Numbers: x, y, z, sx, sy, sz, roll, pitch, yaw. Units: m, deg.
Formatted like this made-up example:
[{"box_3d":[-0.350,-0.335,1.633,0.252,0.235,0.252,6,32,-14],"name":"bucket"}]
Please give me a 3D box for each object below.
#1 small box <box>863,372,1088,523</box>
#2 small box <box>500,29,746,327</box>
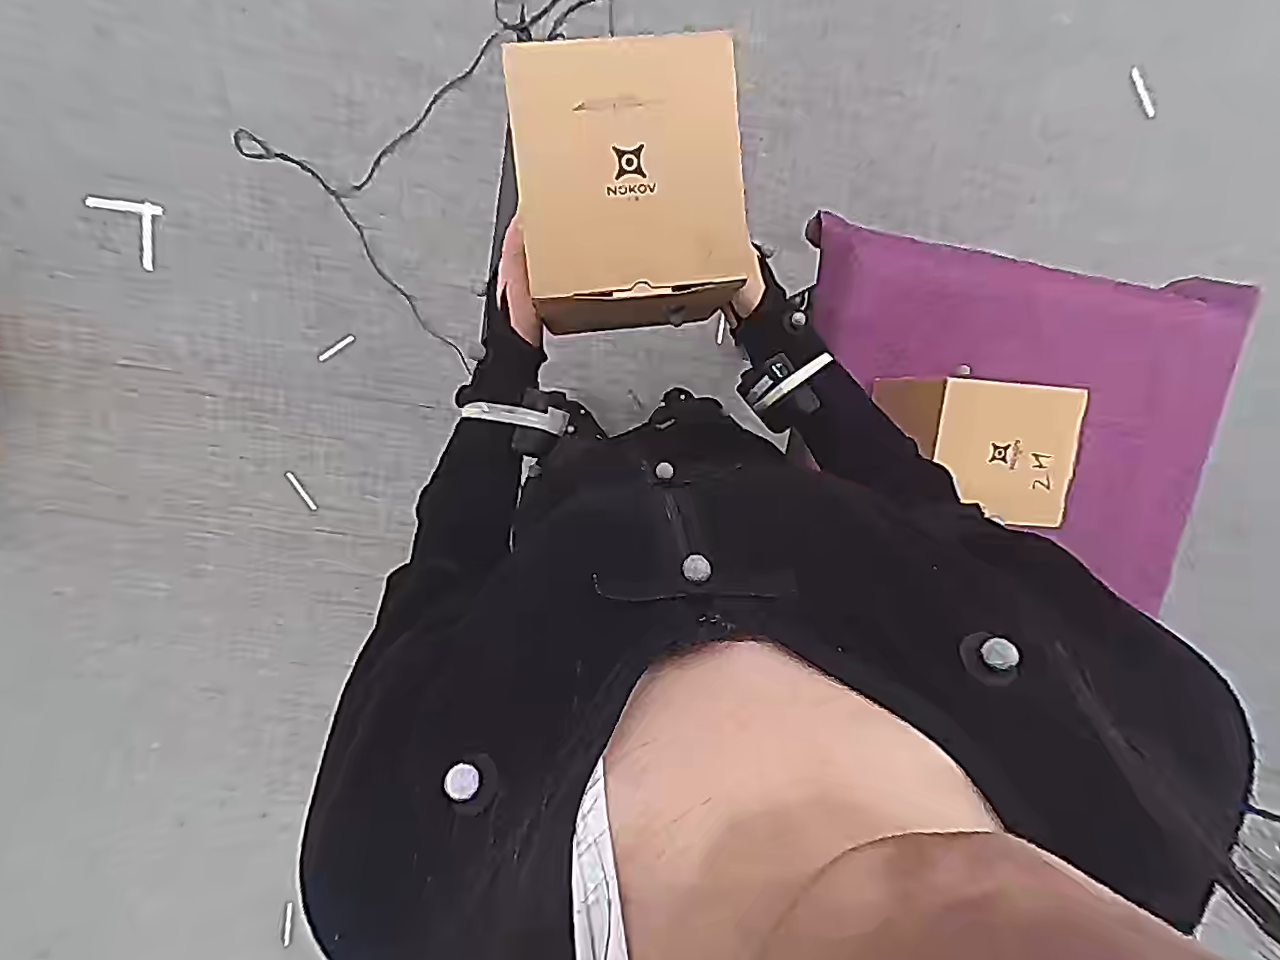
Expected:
[{"box_3d":[0.419,-0.048,0.707,0.179,0.176,0.168,4,100,-6],"name":"small box"},{"box_3d":[-0.015,-0.234,0.467,0.168,0.176,0.179,-7,97,-5],"name":"small box"}]
